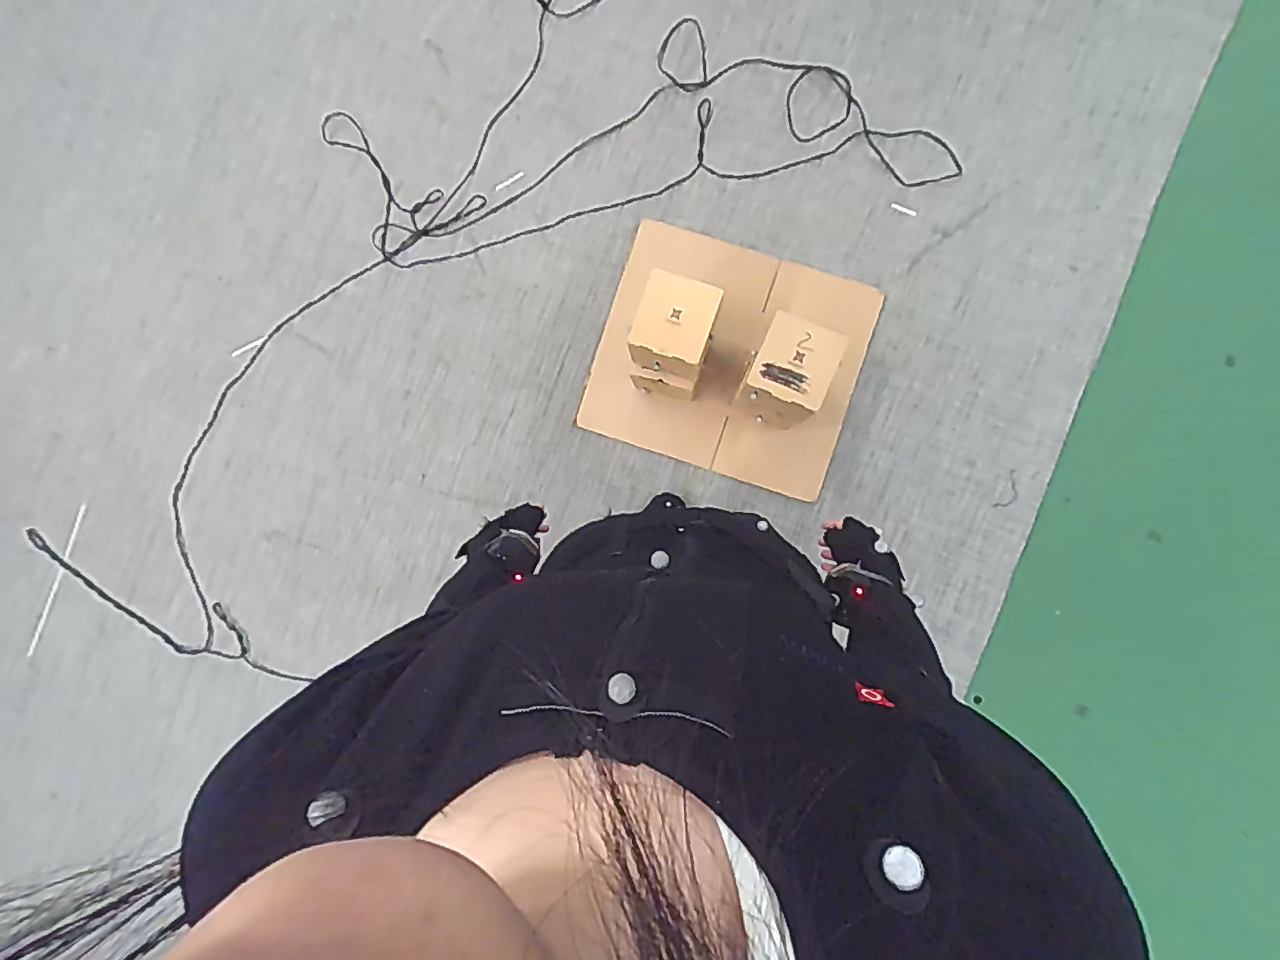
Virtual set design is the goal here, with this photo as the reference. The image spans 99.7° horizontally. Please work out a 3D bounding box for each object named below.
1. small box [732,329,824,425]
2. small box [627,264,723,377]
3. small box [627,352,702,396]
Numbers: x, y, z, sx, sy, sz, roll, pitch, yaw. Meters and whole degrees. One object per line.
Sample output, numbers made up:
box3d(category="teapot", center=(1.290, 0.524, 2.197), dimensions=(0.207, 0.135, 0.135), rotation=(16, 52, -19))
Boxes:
box3d(category="small box", center=(0.343, -0.256, 1.385), dimensions=(0.168, 0.176, 0.179), rotation=(23, 91, 5))
box3d(category="small box", center=(0.077, -0.356, 1.238), dimensions=(0.168, 0.176, 0.179), rotation=(19, 90, 3))
box3d(category="small box", center=(0.075, -0.329, 1.401), dimensions=(0.168, 0.176, 0.179), rotation=(16, 90, 4))
